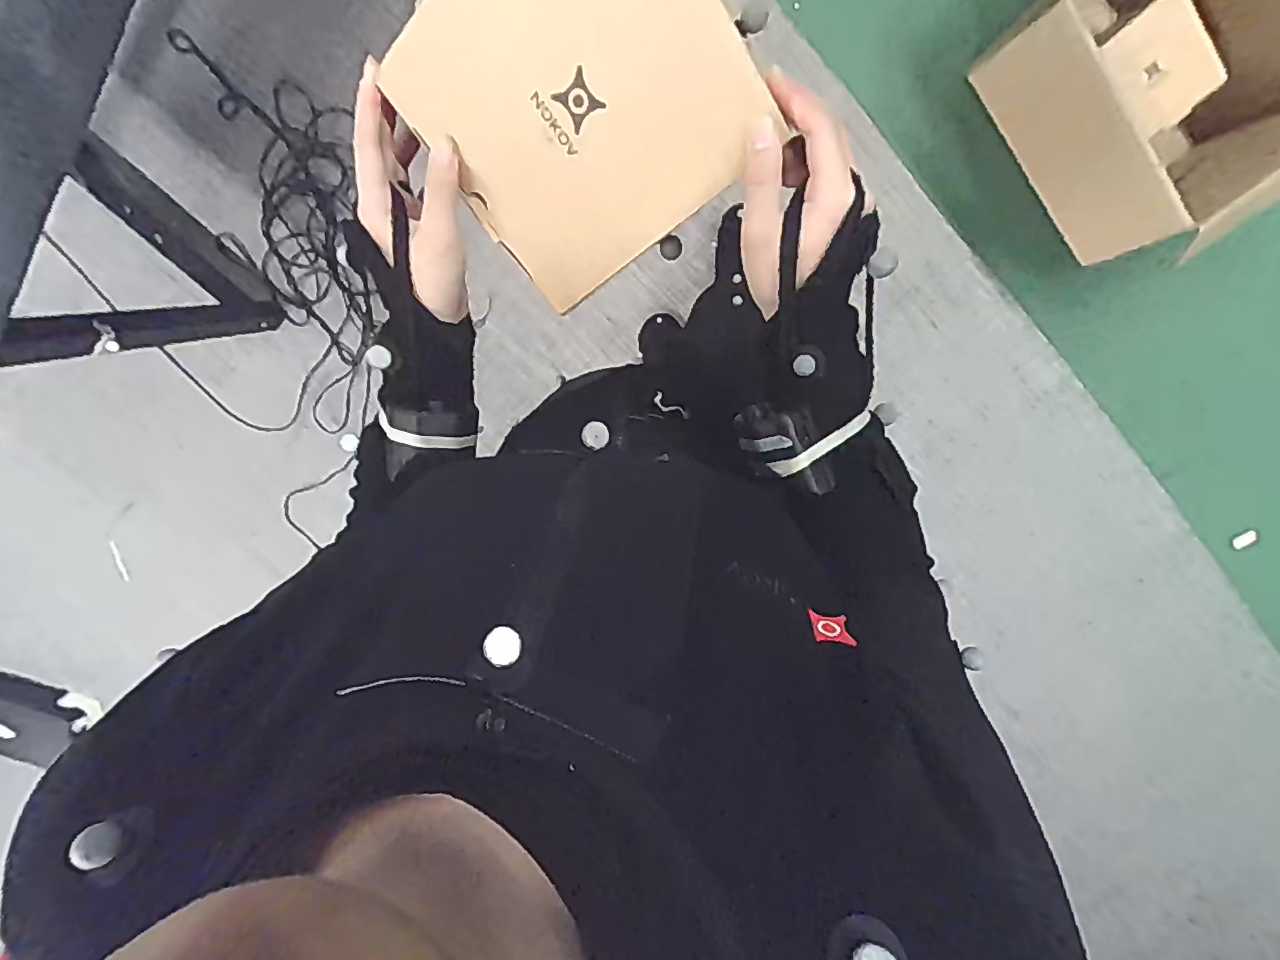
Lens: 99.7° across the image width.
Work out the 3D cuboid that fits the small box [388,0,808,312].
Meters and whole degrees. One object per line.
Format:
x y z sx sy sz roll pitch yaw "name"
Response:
-0.011 -0.248 0.349 0.179 0.176 0.168 -26 116 31 "small box"
